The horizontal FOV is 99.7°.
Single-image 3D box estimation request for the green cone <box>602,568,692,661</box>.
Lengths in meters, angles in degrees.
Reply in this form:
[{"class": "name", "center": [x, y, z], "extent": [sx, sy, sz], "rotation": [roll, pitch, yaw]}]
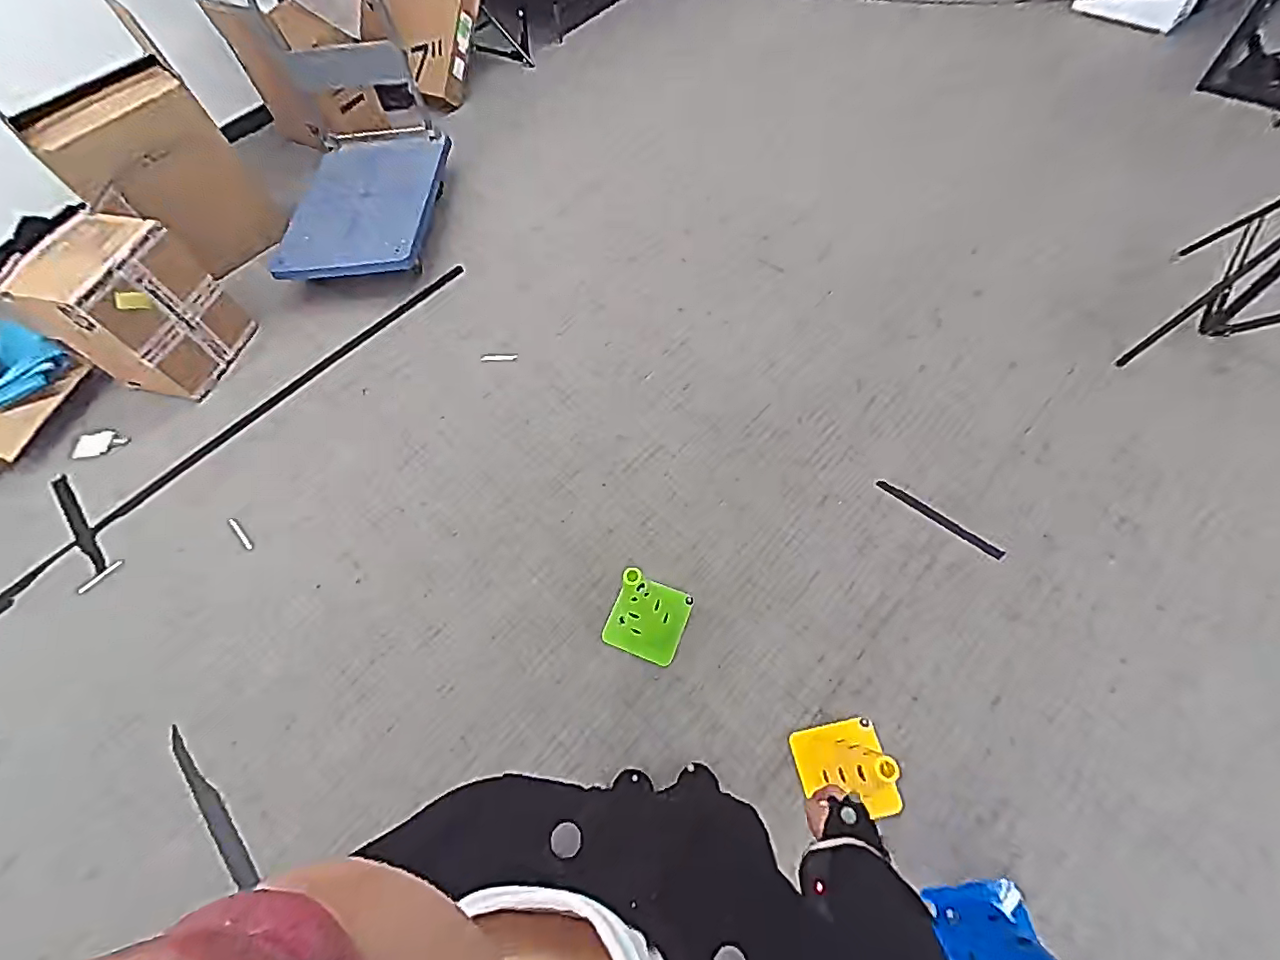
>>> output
[{"class": "green cone", "center": [-0.002, 0.281, 1.299], "extent": [0.200, 0.368, 0.202], "rotation": [16, 66, 16]}]
